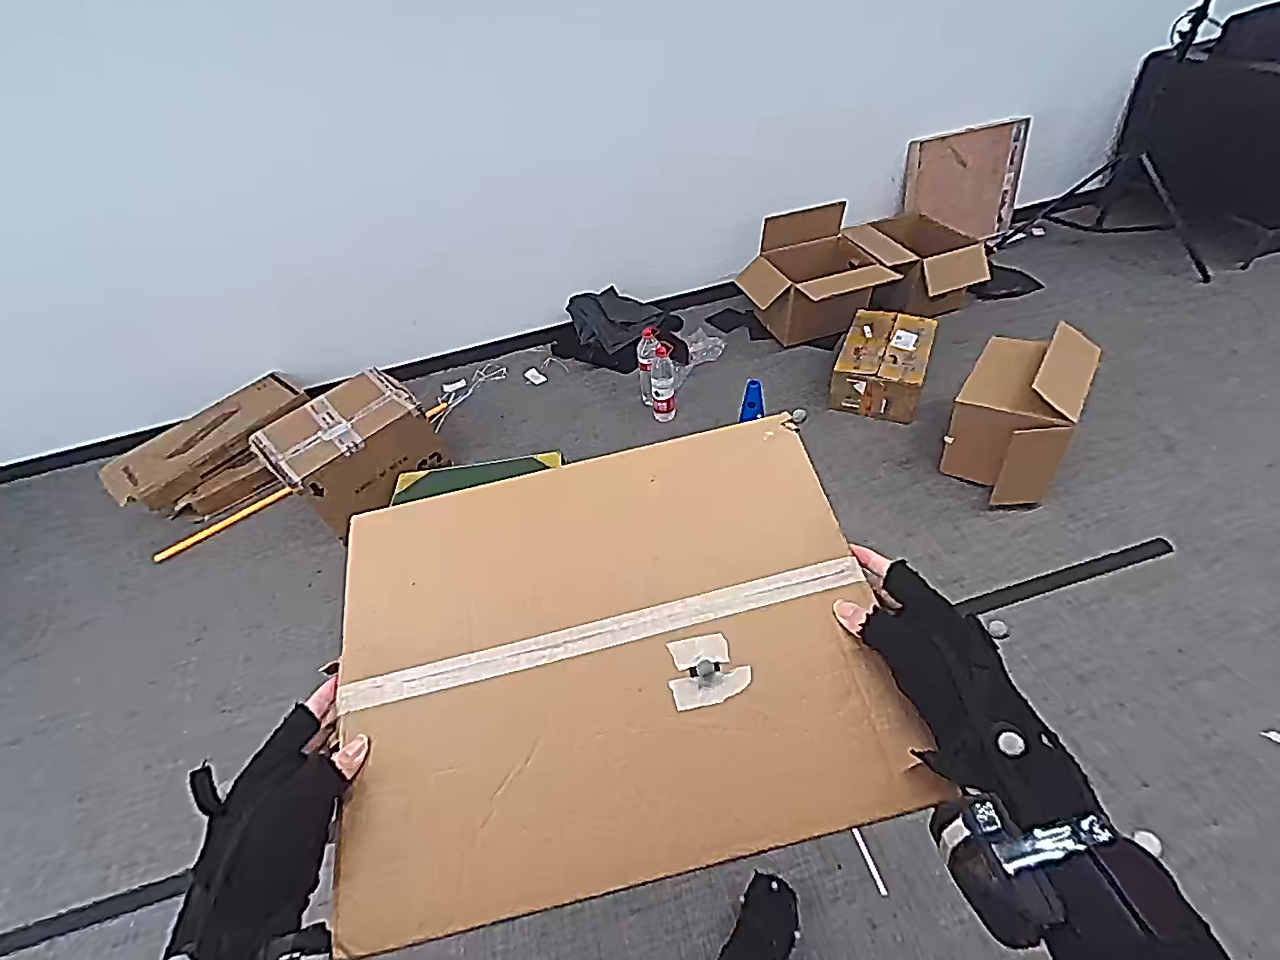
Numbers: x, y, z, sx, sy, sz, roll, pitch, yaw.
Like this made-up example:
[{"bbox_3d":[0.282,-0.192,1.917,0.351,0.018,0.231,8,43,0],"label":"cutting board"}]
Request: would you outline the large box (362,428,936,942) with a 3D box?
[{"bbox_3d":[-0.010,0.198,0.559,0.408,0.320,0.320,-14,61,-2],"label":"large box"}]
